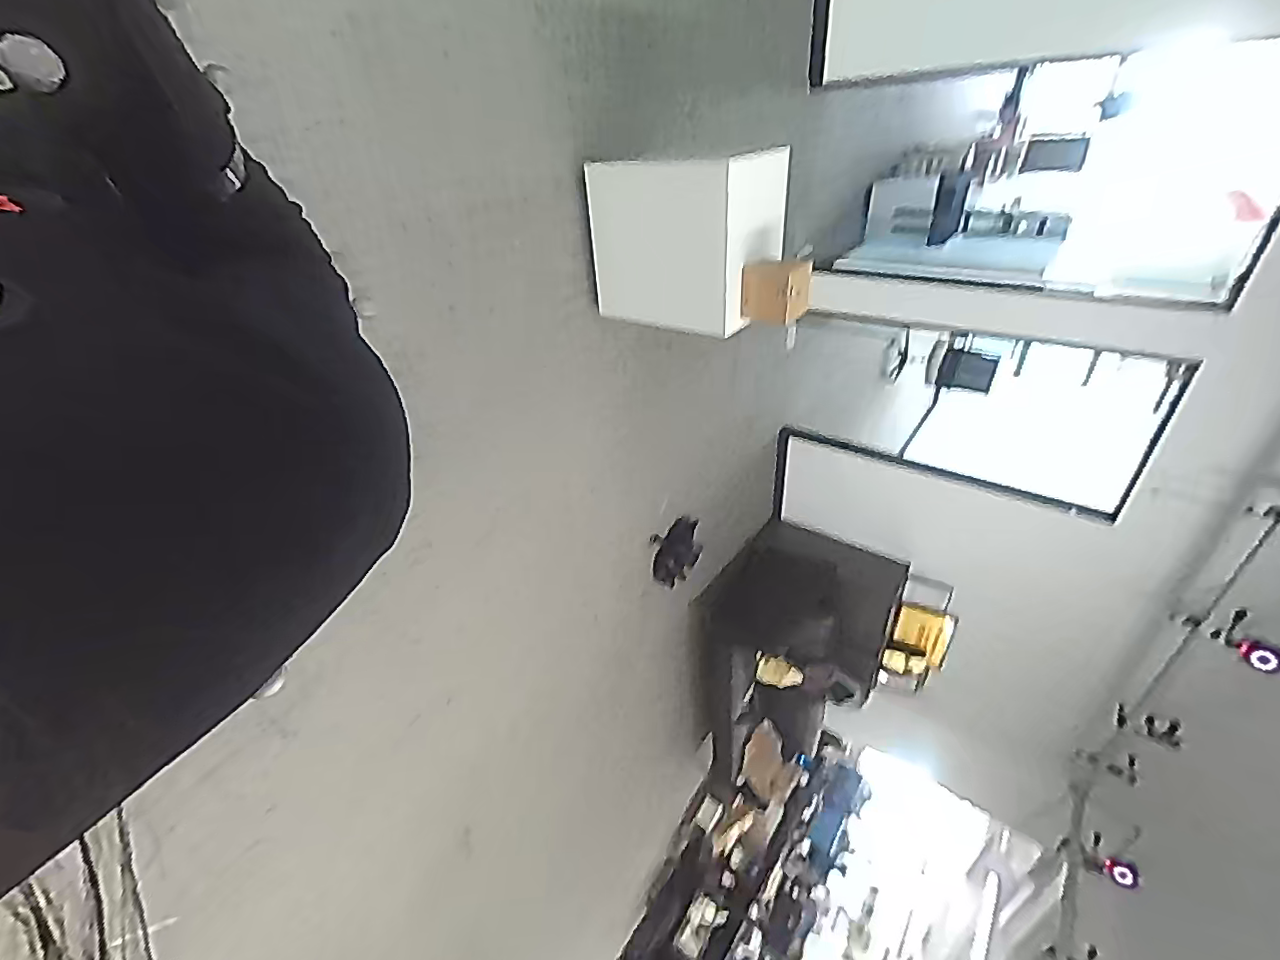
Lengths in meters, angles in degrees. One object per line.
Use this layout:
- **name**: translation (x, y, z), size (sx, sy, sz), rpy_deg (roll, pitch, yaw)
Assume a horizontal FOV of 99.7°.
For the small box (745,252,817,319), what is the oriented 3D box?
- **small box**: translation (0.464, -0.649, 1.786), size (0.179, 0.176, 0.168), rpy_deg (-39, 136, -39)
